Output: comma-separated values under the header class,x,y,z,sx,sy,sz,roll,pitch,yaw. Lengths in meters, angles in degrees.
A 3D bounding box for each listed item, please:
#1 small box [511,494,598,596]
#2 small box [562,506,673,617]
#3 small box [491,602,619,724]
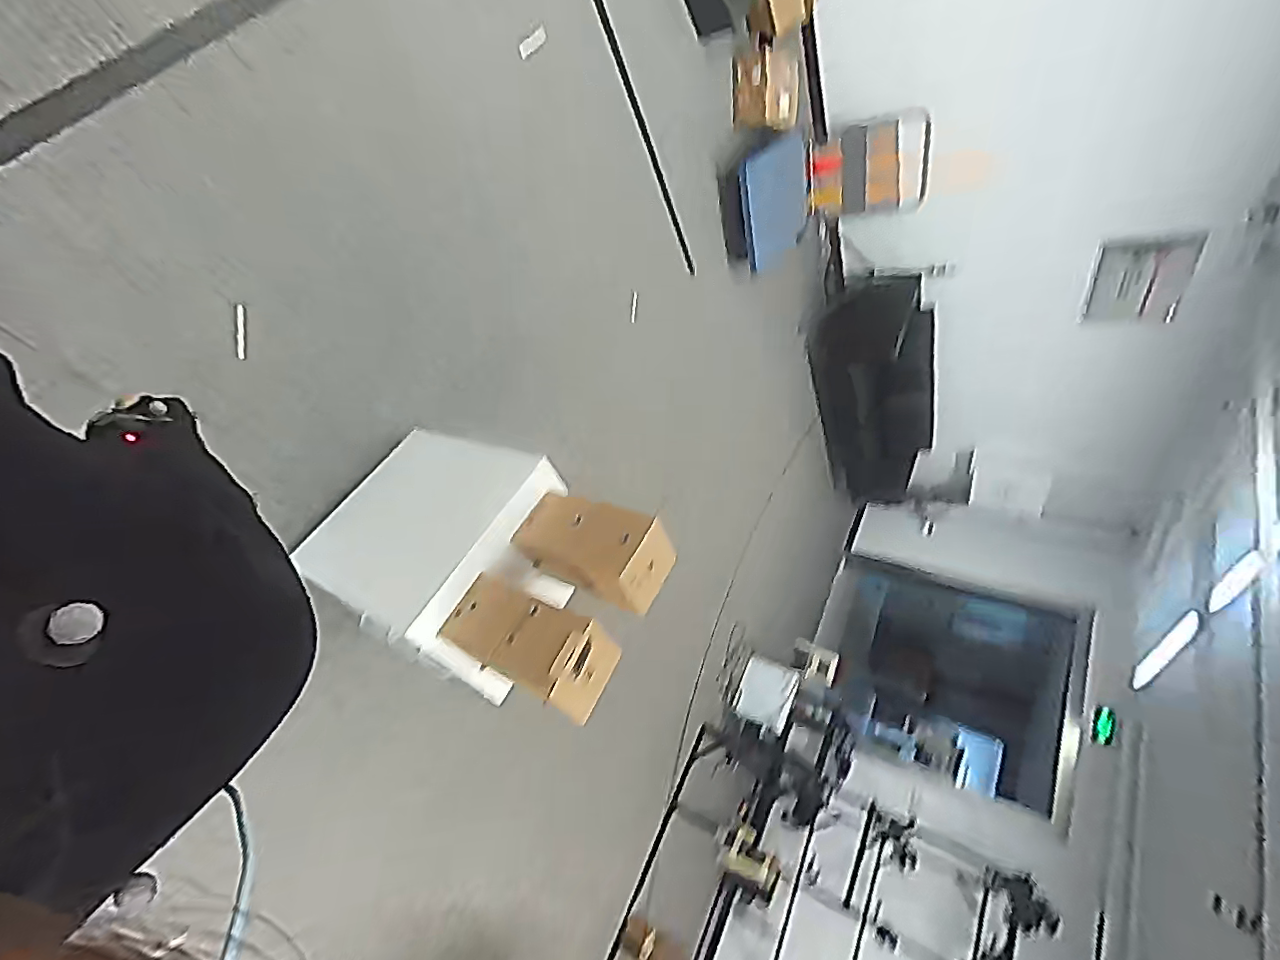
class,x,y,z,sx,sy,sz,roll,pitch,yaw
small box,-0.184,0.156,1.350,0.168,0.176,0.179,-56,142,-29
small box,-0.051,0.183,1.256,0.179,0.176,0.168,-56,140,-29
small box,-0.177,0.375,1.133,0.168,0.176,0.179,-58,143,-27
